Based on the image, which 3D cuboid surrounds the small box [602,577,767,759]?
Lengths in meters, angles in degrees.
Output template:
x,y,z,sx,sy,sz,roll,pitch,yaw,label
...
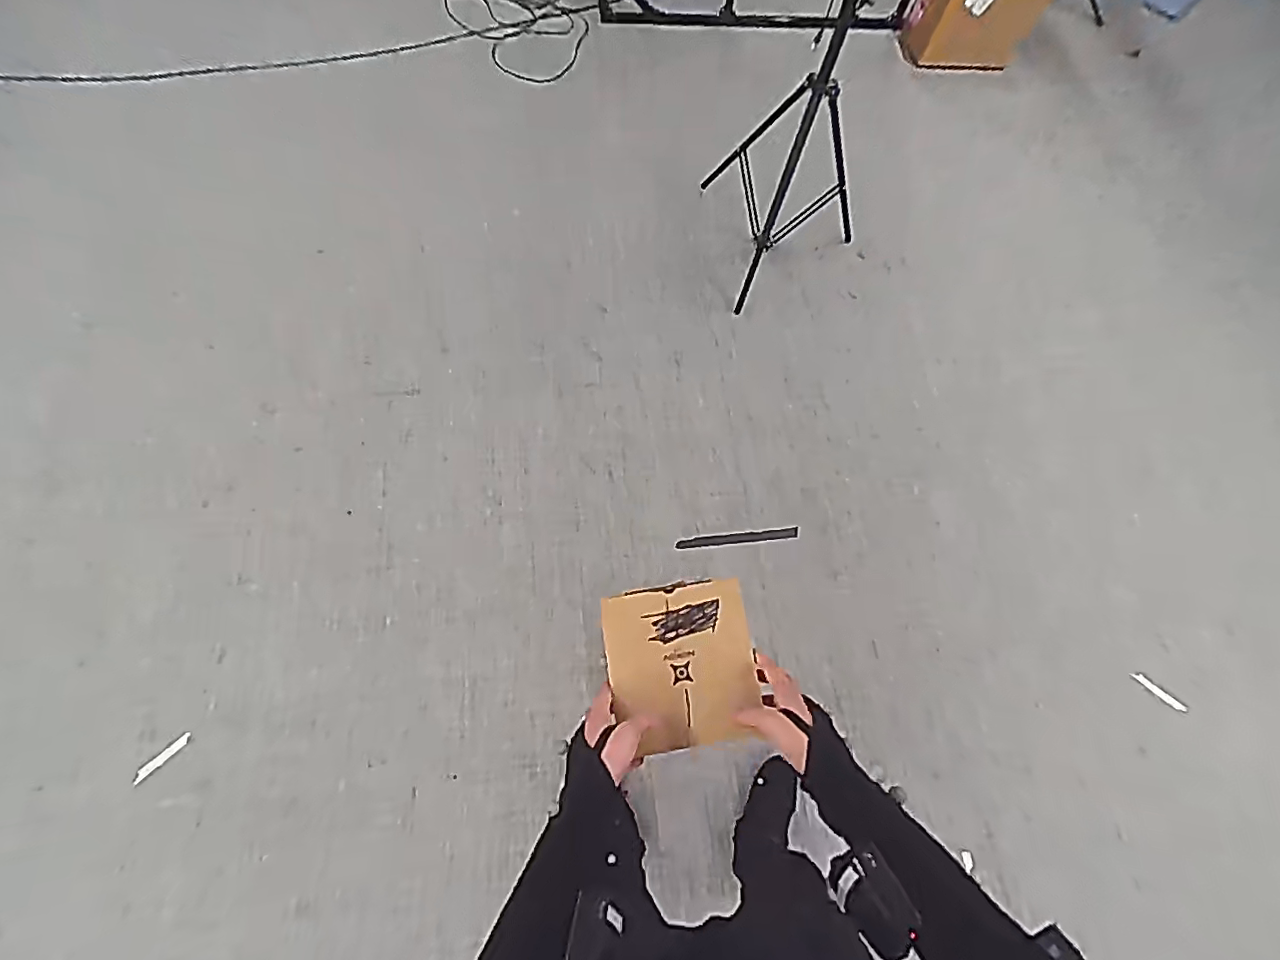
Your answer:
x,y,z,sx,sy,sz,roll,pitch,yaw,label
0.047,0.224,0.681,0.168,0.176,0.179,-9,79,-1,small box
